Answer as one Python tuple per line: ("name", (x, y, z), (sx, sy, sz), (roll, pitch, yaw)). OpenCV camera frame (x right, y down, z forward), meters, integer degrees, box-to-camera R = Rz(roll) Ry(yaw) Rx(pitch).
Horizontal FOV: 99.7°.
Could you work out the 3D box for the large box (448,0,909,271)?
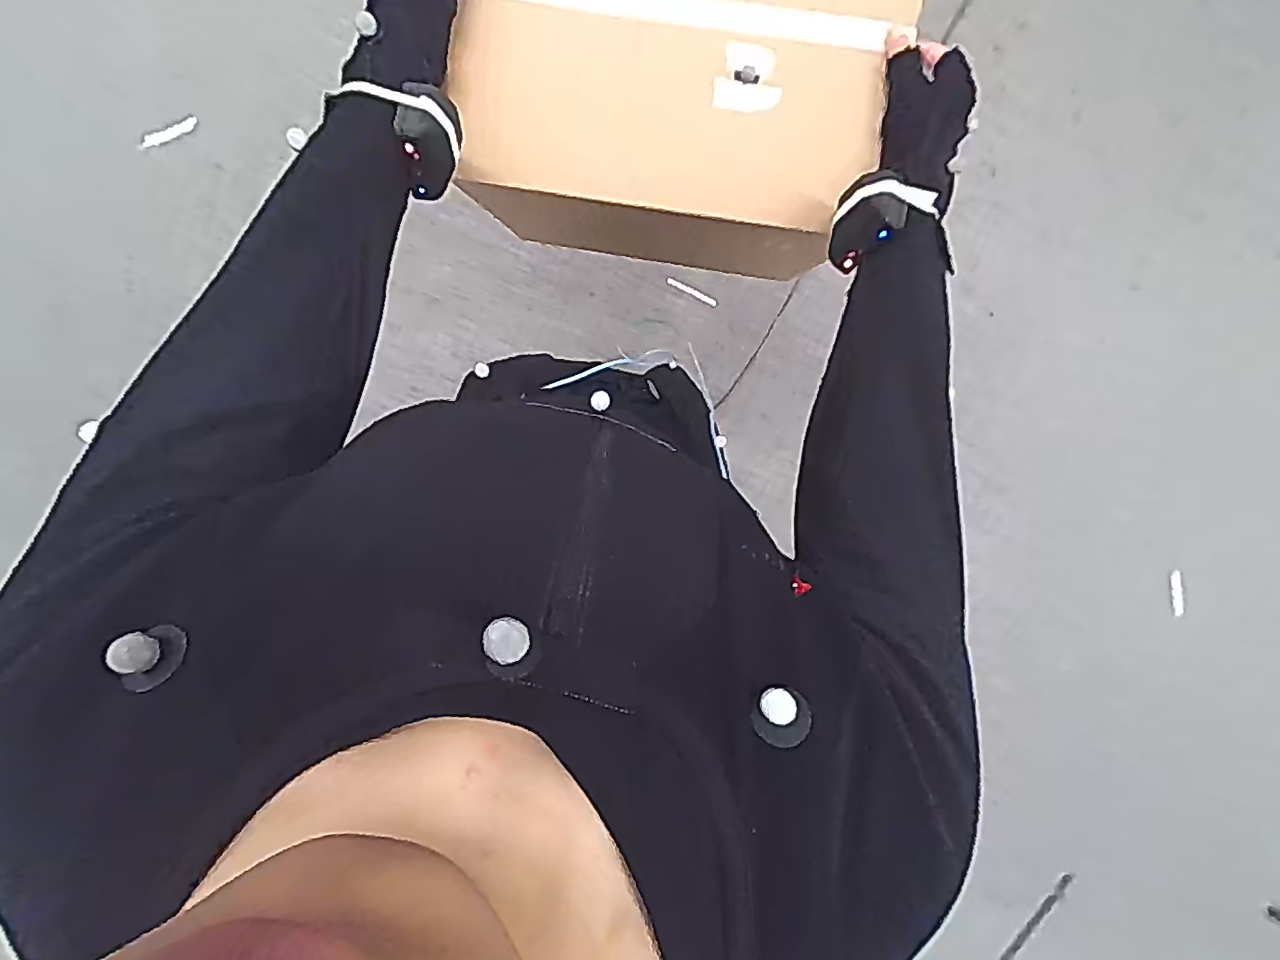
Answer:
("large box", (0.034, -0.445, 0.619), (0.408, 0.320, 0.320), (8, 105, -1))
